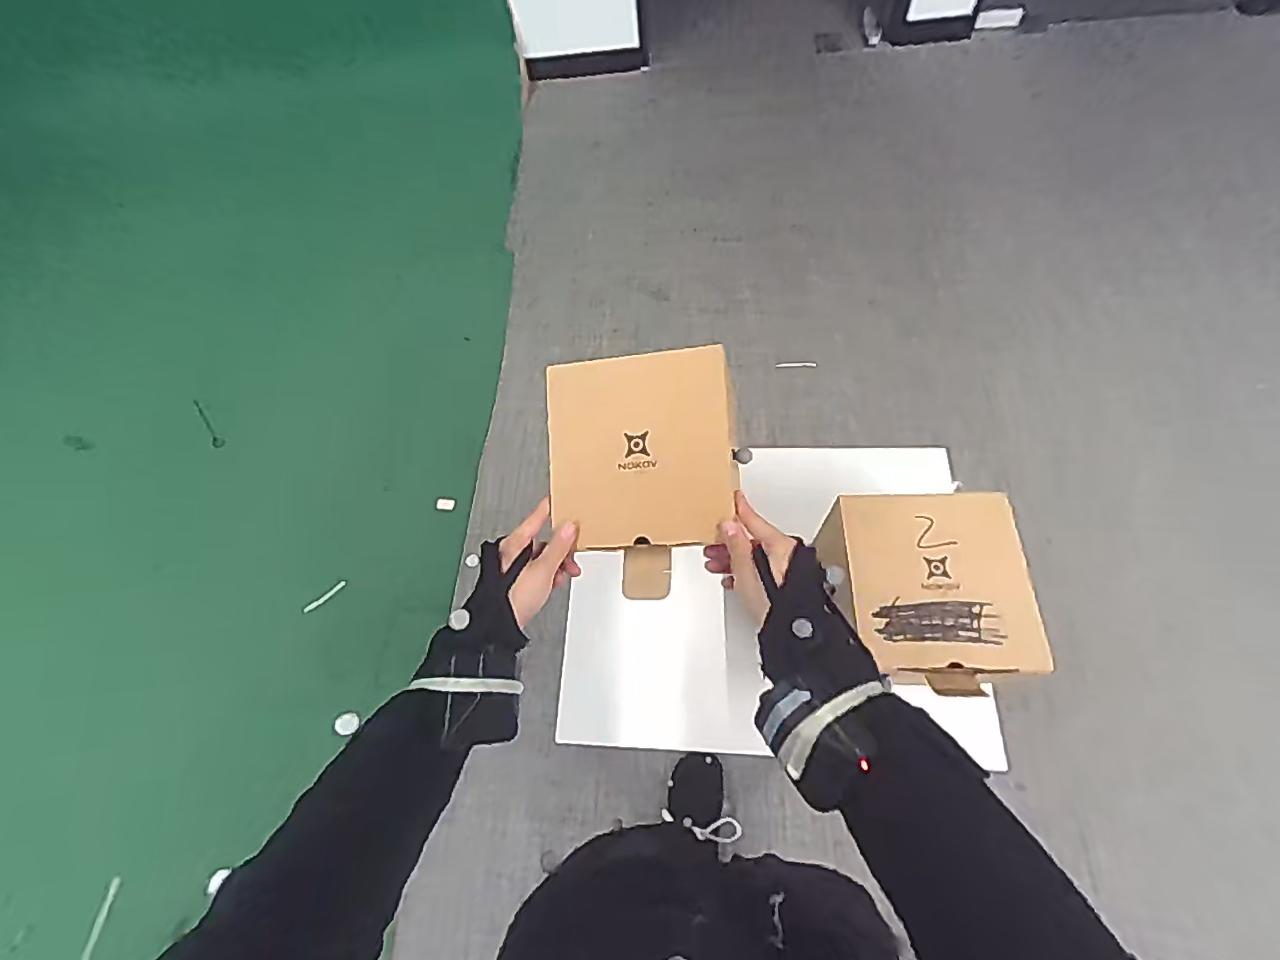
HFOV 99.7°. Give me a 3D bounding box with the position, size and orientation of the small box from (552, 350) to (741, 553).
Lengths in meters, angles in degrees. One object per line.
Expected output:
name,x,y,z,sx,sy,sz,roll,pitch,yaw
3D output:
small box,0.015,-0.016,0.560,0.168,0.176,0.179,-5,83,12
